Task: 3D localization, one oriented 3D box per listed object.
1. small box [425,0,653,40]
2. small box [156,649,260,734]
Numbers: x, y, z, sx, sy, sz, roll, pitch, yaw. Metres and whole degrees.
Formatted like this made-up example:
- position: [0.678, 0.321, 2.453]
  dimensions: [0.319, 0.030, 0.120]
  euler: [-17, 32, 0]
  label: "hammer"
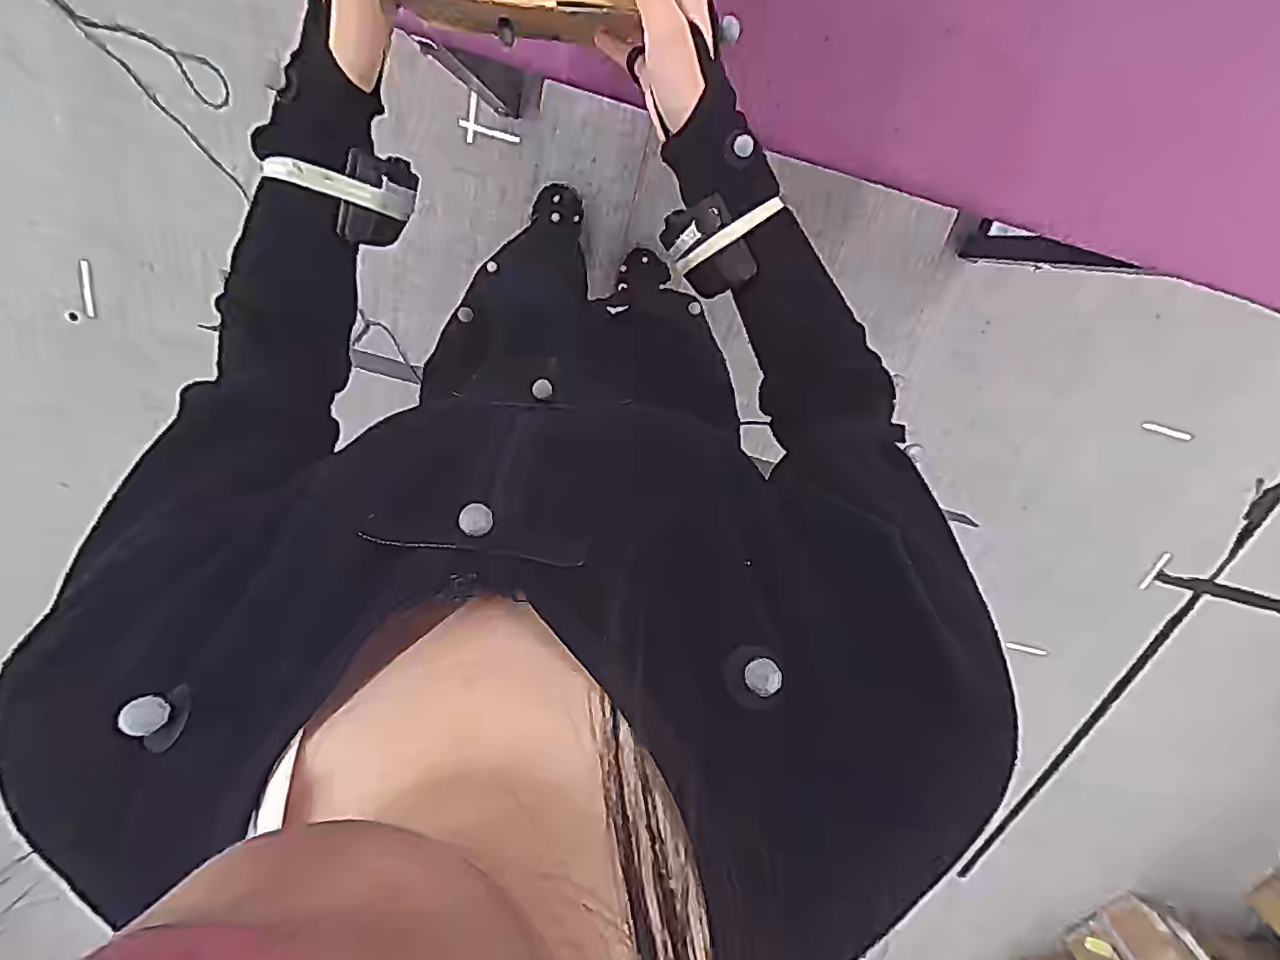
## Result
- position: [-0.076, -0.405, 0.338]
  dimensions: [0.168, 0.176, 0.179]
  euler: [0, 124, -10]
  label: "small box"
- position: [-1.423, 0.698, 1.795]
  dimensions: [0.179, 0.176, 0.168]
  euler: [-29, 111, 12]
  label: "small box"
